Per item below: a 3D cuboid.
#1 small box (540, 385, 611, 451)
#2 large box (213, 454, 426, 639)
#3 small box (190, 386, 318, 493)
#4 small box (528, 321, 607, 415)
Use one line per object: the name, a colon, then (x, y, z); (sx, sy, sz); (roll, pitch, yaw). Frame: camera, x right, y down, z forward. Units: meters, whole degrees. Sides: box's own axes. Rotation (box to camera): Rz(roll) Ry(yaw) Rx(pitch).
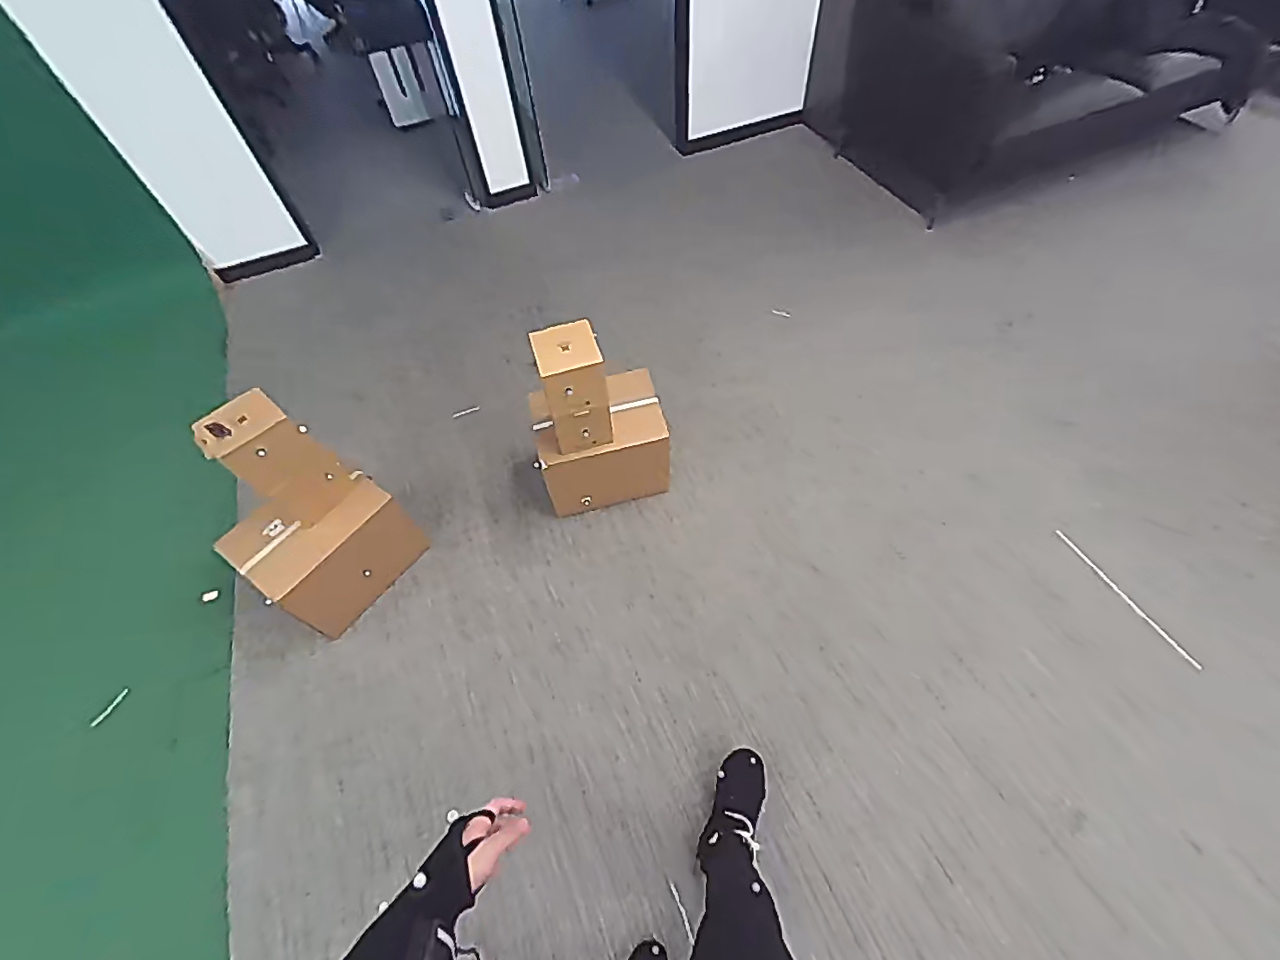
small box: (-0.189, -0.205, 1.606); (0.168, 0.176, 0.179); (-15, 58, -7)
large box: (-0.956, 0.204, 1.668); (0.320, 0.320, 0.408); (28, 63, 22)
small box: (-0.974, -0.099, 1.378); (0.168, 0.176, 0.179); (36, 64, 24)
small box: (-0.193, -0.296, 1.470); (0.168, 0.176, 0.179); (-16, 56, -7)
